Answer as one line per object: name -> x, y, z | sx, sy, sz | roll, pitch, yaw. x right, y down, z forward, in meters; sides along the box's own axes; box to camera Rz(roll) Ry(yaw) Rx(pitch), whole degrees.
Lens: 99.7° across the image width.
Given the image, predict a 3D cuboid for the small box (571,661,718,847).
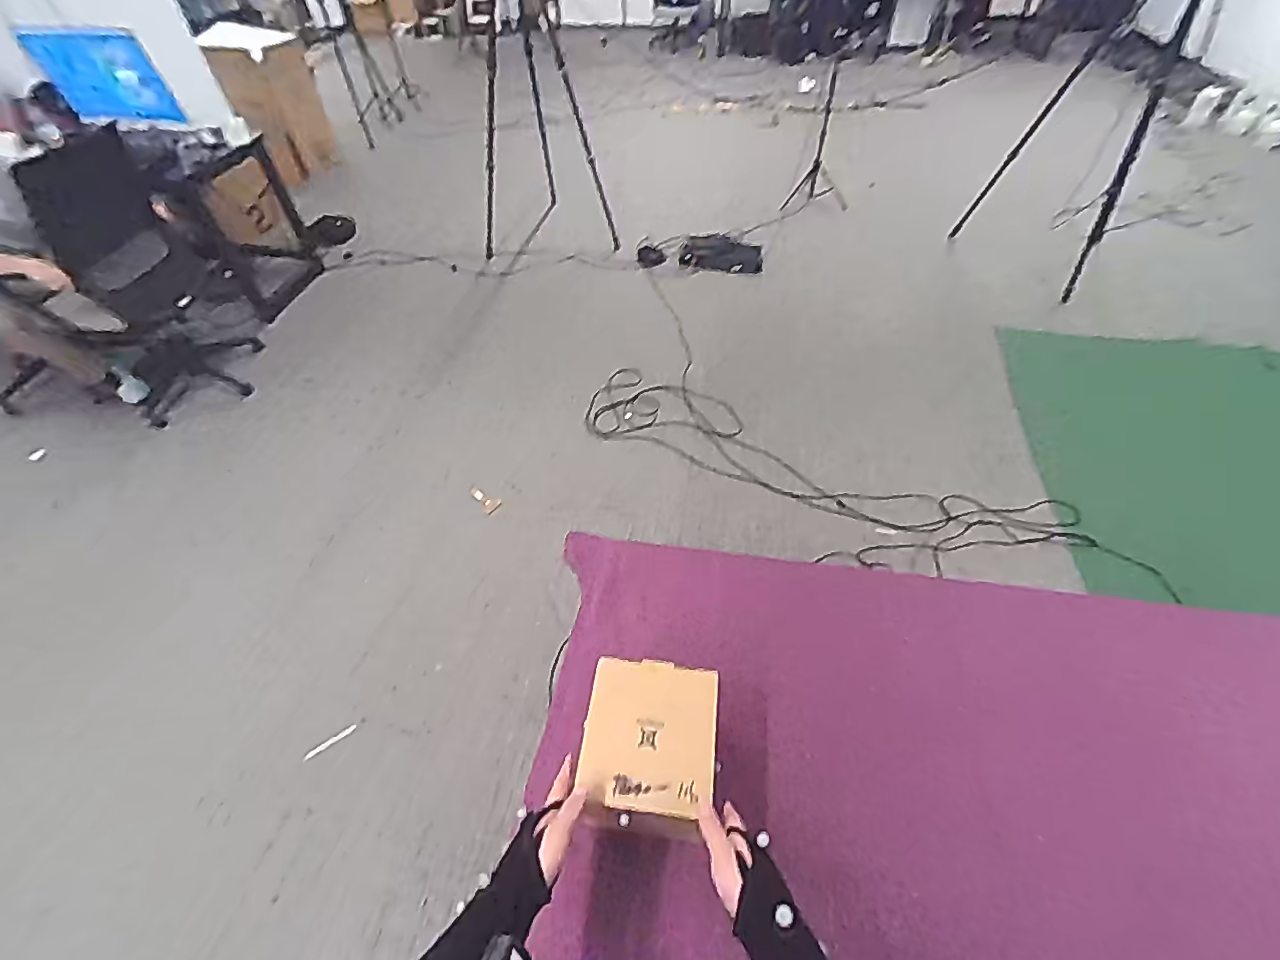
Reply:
small box -> 0.013, 0.372, 0.734 | 0.168, 0.176, 0.179 | 5, 49, 7
